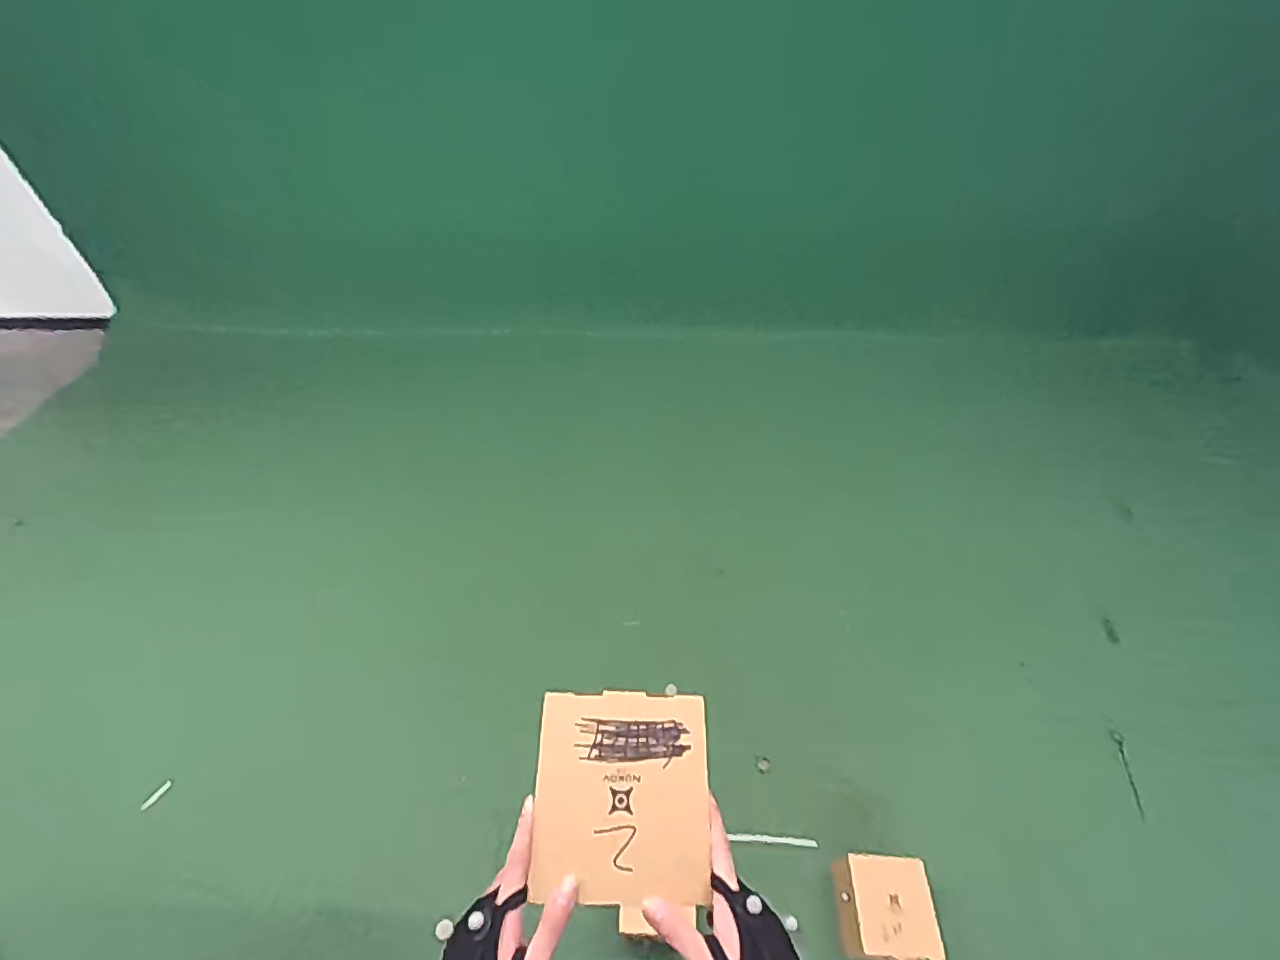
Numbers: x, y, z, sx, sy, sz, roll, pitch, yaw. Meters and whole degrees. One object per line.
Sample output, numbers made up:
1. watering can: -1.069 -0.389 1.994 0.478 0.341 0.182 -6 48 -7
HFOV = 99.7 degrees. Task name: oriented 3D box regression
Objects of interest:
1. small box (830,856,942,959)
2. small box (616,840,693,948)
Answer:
1. small box: 0.538 0.970 1.212 0.168 0.176 0.179 3 46 3
2. small box: 0.037 0.950 1.238 0.168 0.176 0.179 2 45 2
